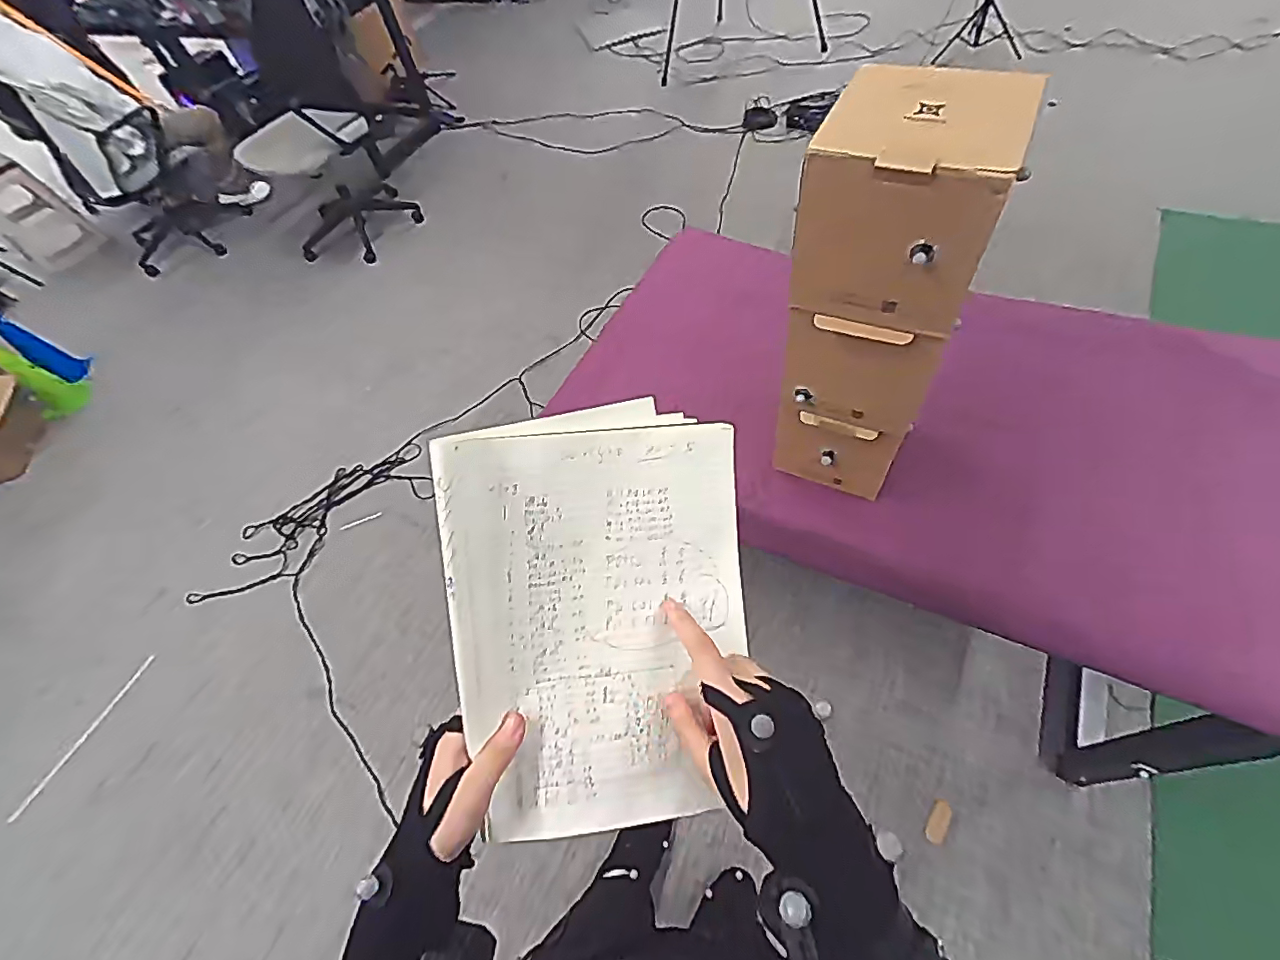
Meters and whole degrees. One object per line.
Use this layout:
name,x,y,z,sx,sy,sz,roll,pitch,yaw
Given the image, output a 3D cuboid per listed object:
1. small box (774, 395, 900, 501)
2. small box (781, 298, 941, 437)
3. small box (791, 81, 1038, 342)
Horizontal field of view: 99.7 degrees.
small box,0.310,-0.095,0.824,0.168,0.176,0.179,20,62,20
small box,0.286,-0.182,0.686,0.168,0.176,0.179,20,60,21
small box,0.262,-0.269,0.550,0.168,0.176,0.179,21,61,21
